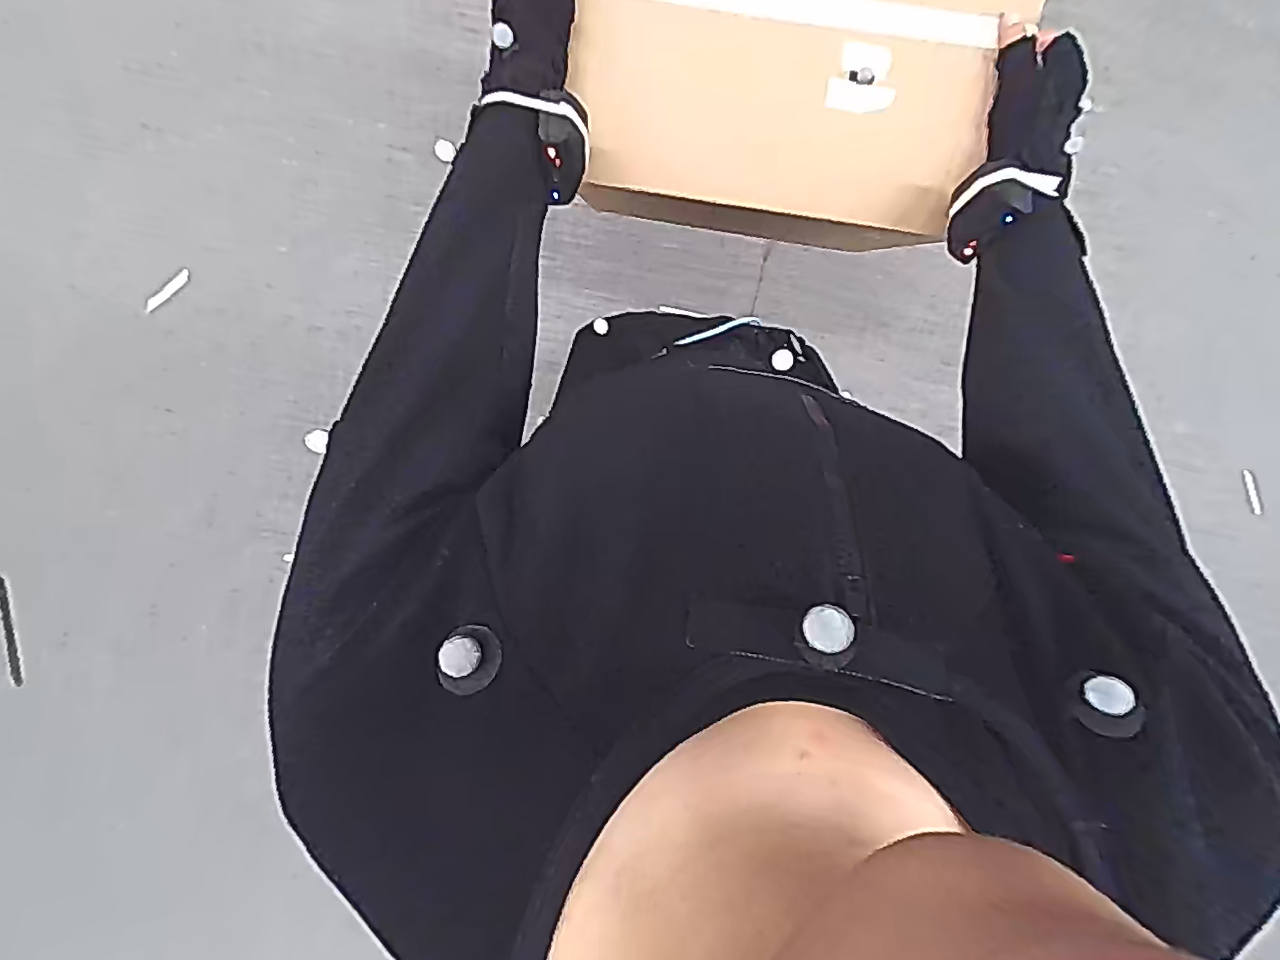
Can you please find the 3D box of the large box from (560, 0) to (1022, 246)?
[{"bbox_3d":[0.135,-0.464,0.622,0.408,0.320,0.320,8,112,-1],"label":"large box"}]
